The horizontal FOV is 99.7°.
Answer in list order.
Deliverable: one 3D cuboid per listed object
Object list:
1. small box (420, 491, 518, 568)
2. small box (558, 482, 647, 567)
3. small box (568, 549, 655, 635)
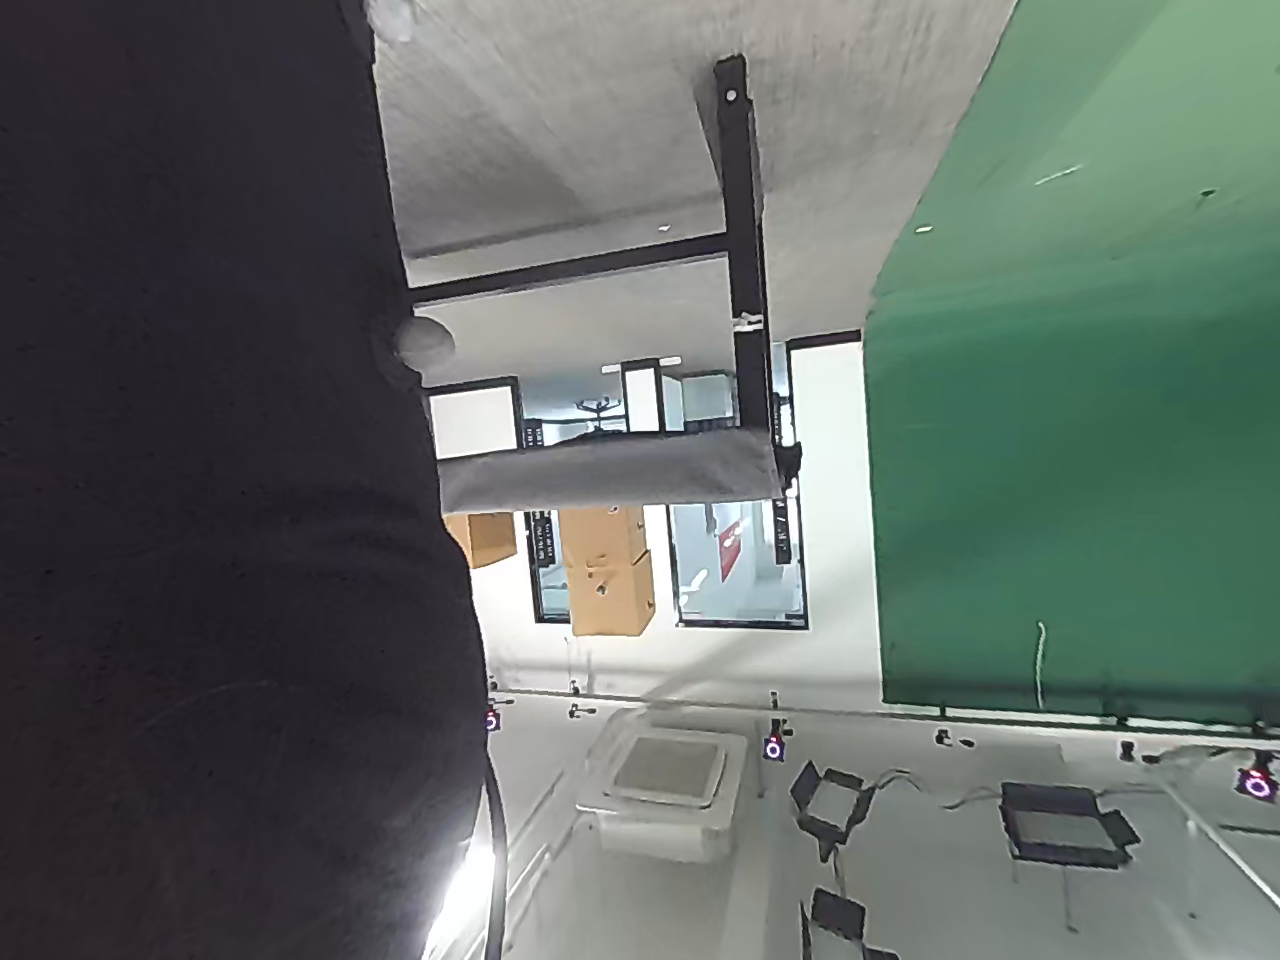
[{"bbox_3d":[-0.442,0.125,1.395,0.168,0.176,0.179,-3,-176,25],"label":"small box"},{"bbox_3d":[-0.086,0.101,1.286,0.168,0.176,0.179,-4,-175,13],"label":"small box"},{"bbox_3d":[-0.065,0.263,1.314,0.168,0.176,0.179,-5,-176,15],"label":"small box"}]
